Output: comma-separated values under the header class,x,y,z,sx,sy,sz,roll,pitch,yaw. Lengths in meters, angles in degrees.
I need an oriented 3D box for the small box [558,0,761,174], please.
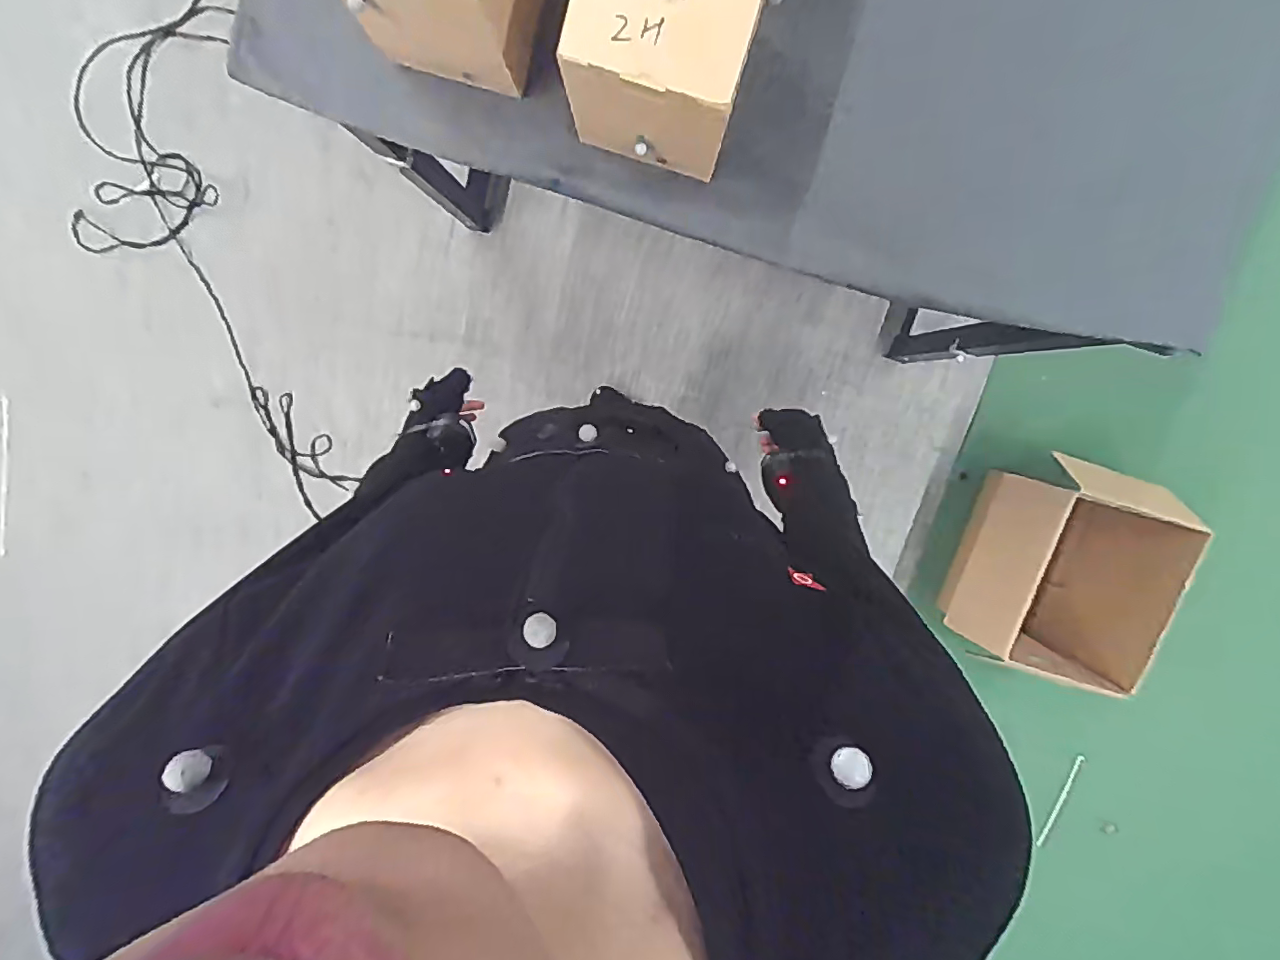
class,x,y,z,sx,sy,sz,roll,pitch,yaw
small box,0.028,-0.458,0.557,0.168,0.176,0.179,17,99,-1
